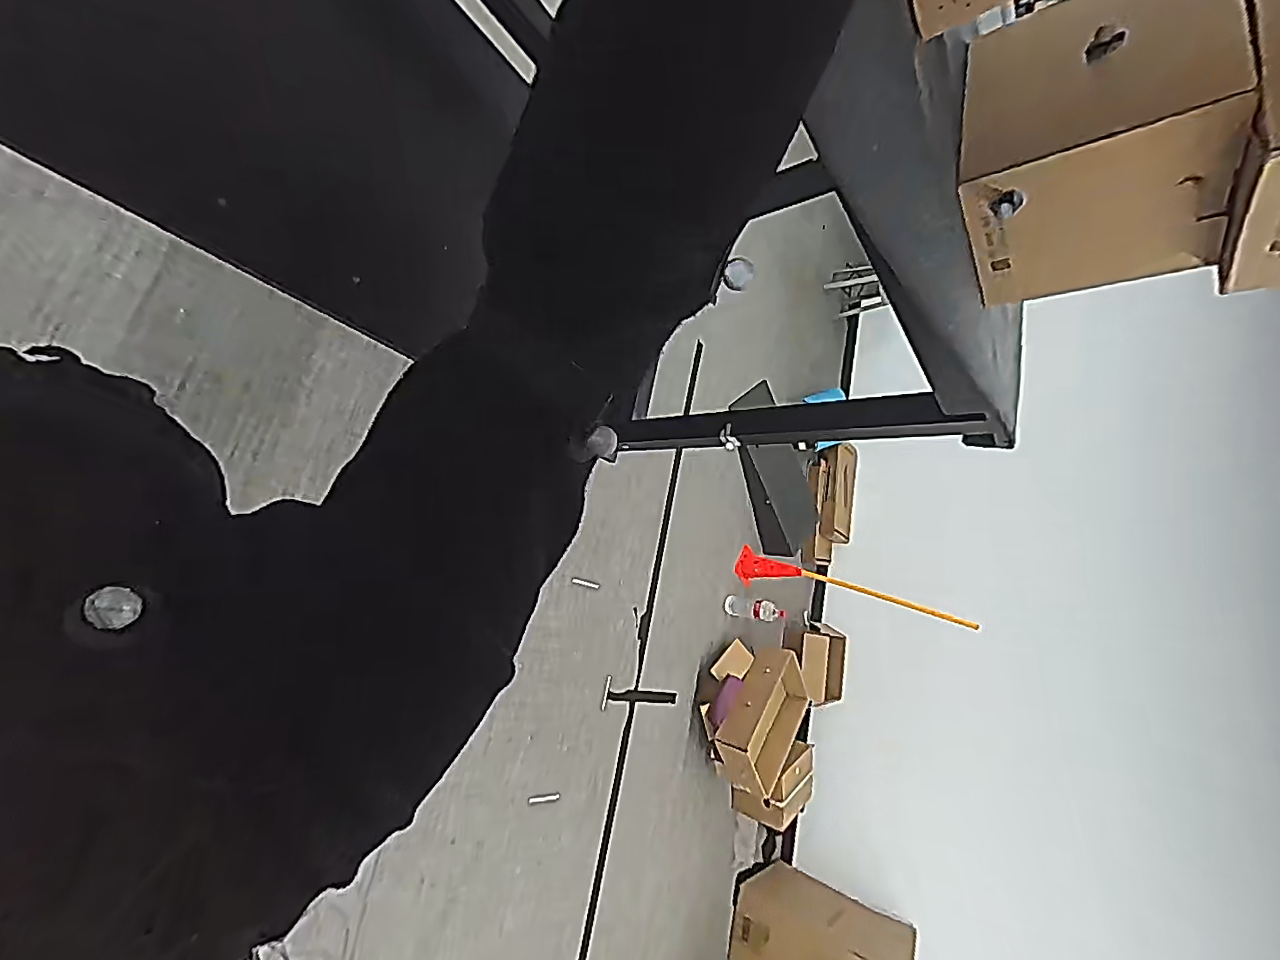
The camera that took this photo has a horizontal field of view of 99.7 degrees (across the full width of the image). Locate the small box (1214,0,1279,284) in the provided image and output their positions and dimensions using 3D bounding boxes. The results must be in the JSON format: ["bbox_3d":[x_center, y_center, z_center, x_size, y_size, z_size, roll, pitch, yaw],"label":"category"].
[{"bbox_3d":[0.508,-0.260,0.359,0.168,0.176,0.179,25,69,-49],"label":"small box"}]

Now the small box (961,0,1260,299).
[{"bbox_3d":[0.389,-0.288,0.470,0.168,0.176,0.179,33,63,-45],"label":"small box"}]
